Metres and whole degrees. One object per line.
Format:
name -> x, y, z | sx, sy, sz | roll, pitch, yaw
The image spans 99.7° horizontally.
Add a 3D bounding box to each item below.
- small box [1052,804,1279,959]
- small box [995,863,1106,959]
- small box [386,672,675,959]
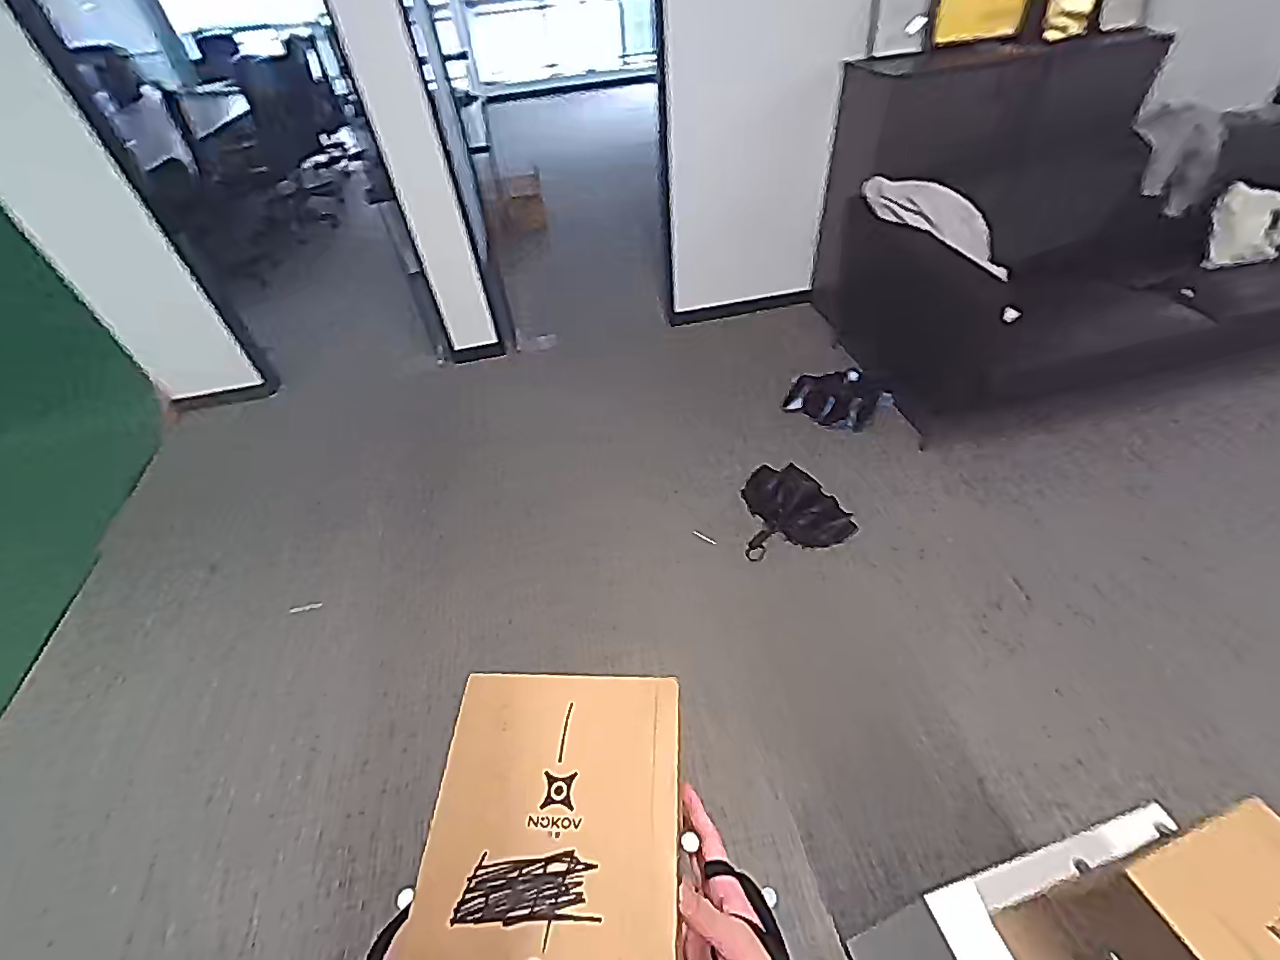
small box -> 0.554, 0.445, 0.514 | 0.179, 0.176, 0.168 | -17, 46, -10
small box -> 0.567, 0.561, 0.628 | 0.179, 0.176, 0.168 | -15, 46, -10
small box -> -0.059, 0.269, 0.426 | 0.168, 0.176, 0.179 | 0, 51, 6
